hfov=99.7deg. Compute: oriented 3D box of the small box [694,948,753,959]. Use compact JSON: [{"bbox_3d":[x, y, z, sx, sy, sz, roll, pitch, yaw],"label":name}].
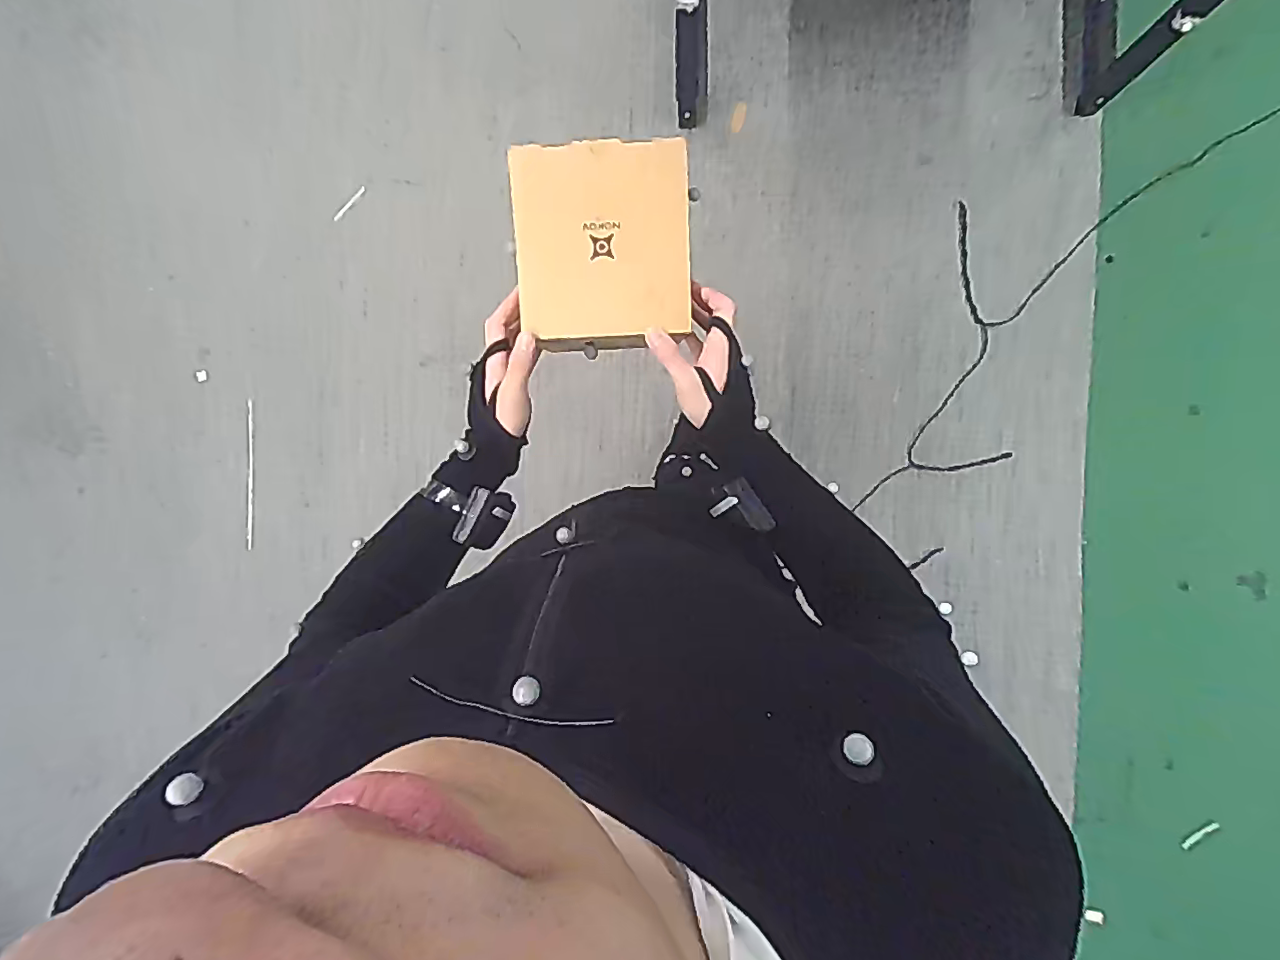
[{"bbox_3d":[0.239,1.477,1.527,0.179,0.176,0.168,3,90,6],"label":"small box"}]
